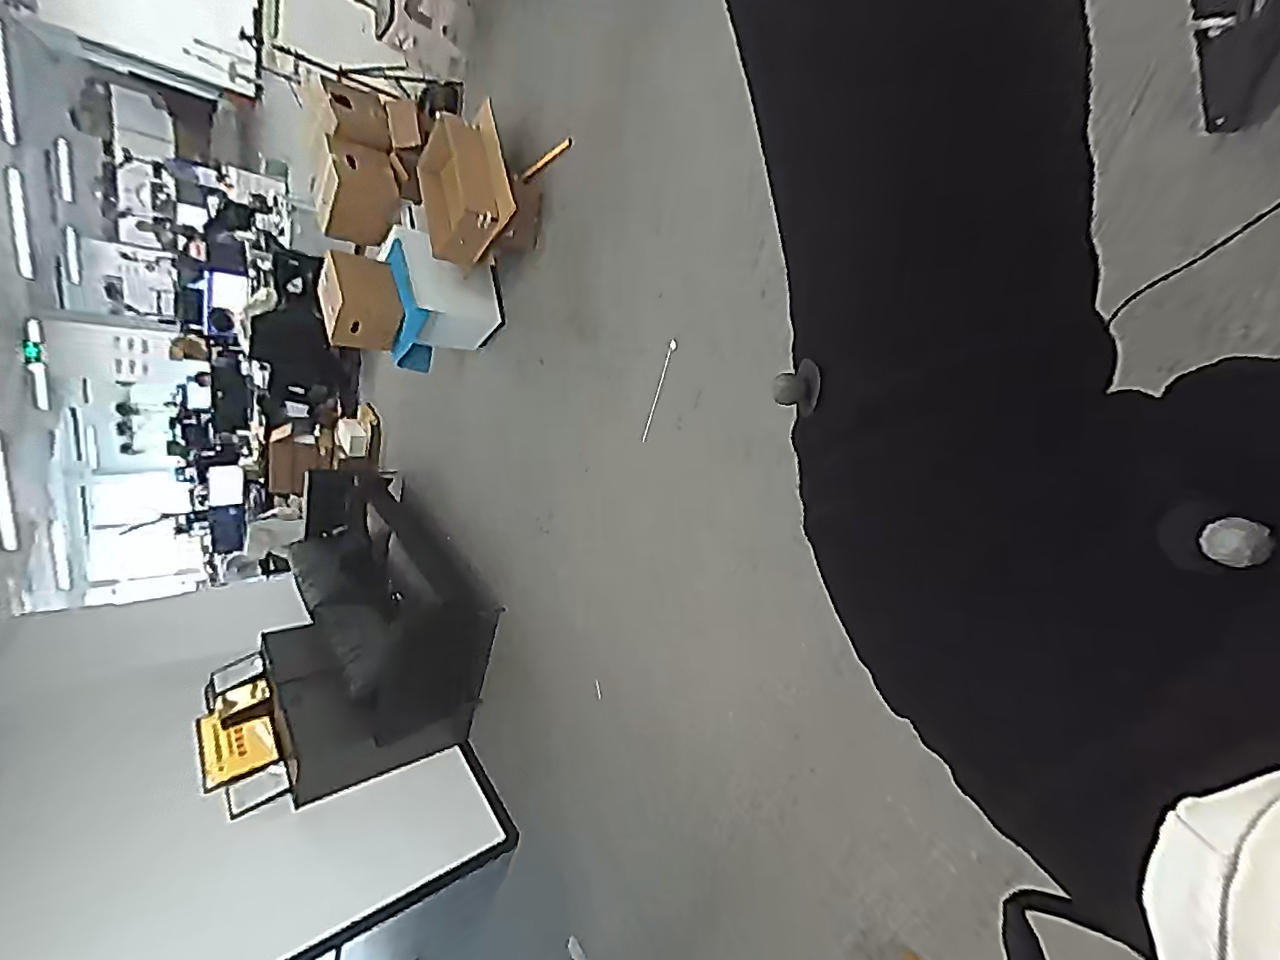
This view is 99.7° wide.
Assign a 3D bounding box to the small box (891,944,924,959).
[{"bbox_3d":[0.802,1.552,1.612,0.168,0.176,0.179,38,120,40],"label":"small box"}]
